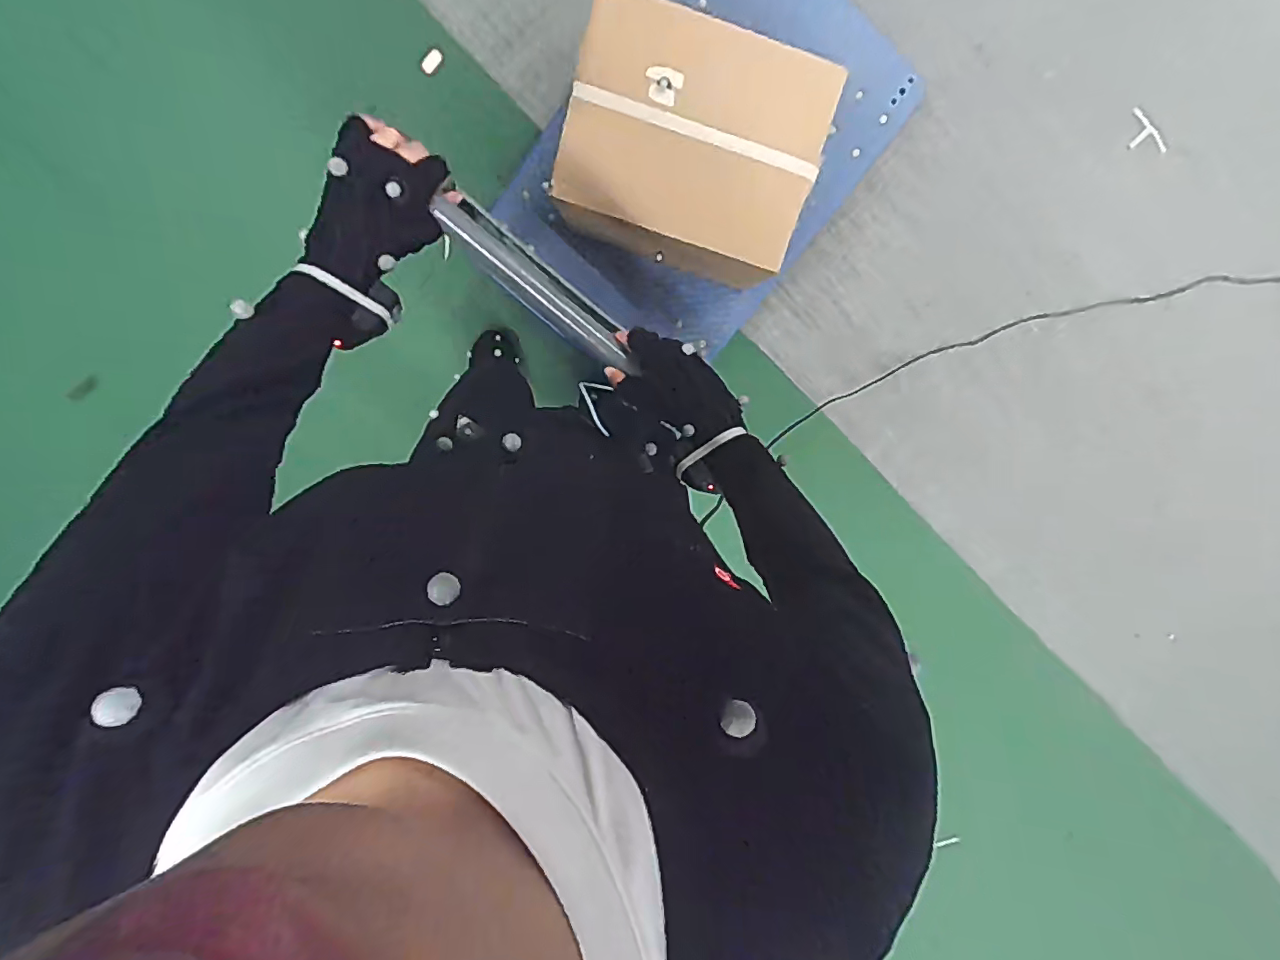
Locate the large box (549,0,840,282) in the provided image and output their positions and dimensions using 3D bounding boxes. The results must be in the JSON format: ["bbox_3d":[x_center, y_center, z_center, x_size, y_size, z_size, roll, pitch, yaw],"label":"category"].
[{"bbox_3d":[0.084,-0.589,1.006,0.408,0.320,0.320,17,104,-4],"label":"large box"}]
